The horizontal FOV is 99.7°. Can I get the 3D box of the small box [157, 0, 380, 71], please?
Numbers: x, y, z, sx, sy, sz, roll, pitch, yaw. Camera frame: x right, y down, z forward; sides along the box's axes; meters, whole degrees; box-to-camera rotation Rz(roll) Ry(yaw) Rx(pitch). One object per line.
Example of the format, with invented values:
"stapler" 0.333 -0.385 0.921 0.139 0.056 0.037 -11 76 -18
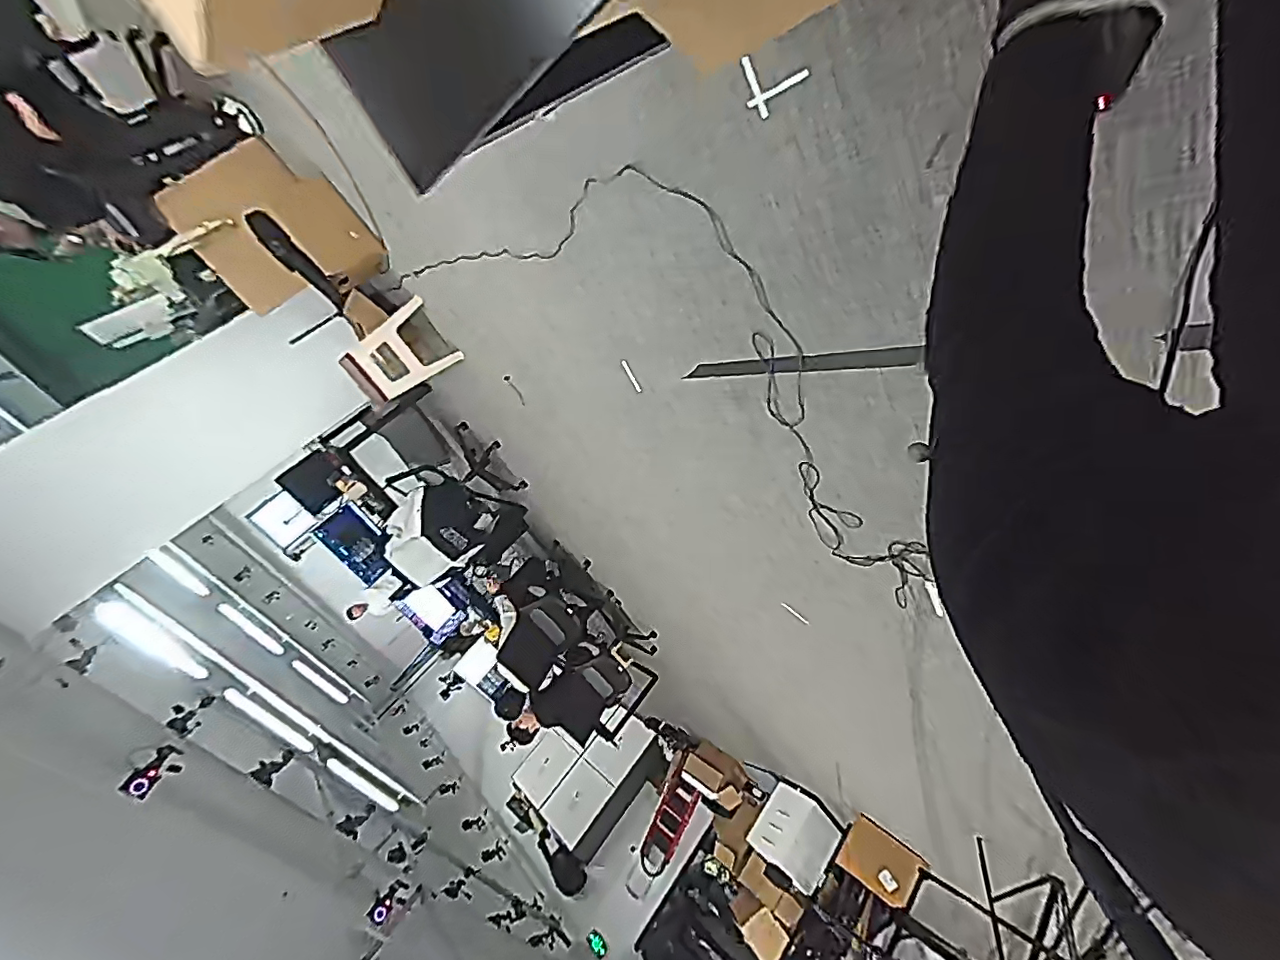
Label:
"small box" -0.287 -0.443 0.377 0.179 0.176 0.168 7 136 52
